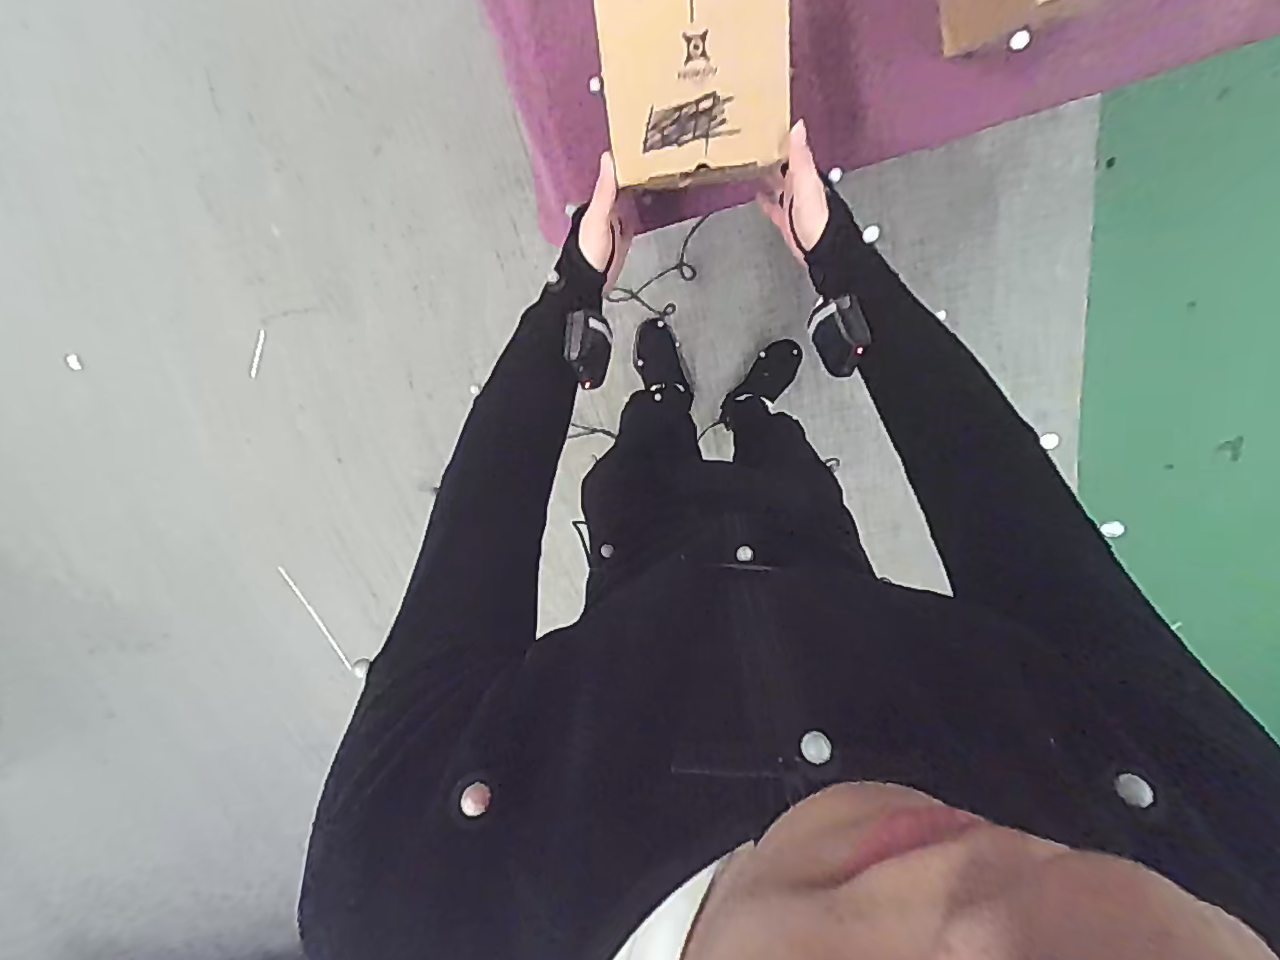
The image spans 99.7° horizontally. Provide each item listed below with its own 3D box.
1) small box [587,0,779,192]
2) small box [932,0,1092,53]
[{"bbox_3d":[0.043,-0.401,0.553,0.168,0.176,0.179,-6,115,3],"label":"small box"},{"bbox_3d":[0.399,-0.562,0.521,0.168,0.176,0.179,-15,113,8],"label":"small box"}]
